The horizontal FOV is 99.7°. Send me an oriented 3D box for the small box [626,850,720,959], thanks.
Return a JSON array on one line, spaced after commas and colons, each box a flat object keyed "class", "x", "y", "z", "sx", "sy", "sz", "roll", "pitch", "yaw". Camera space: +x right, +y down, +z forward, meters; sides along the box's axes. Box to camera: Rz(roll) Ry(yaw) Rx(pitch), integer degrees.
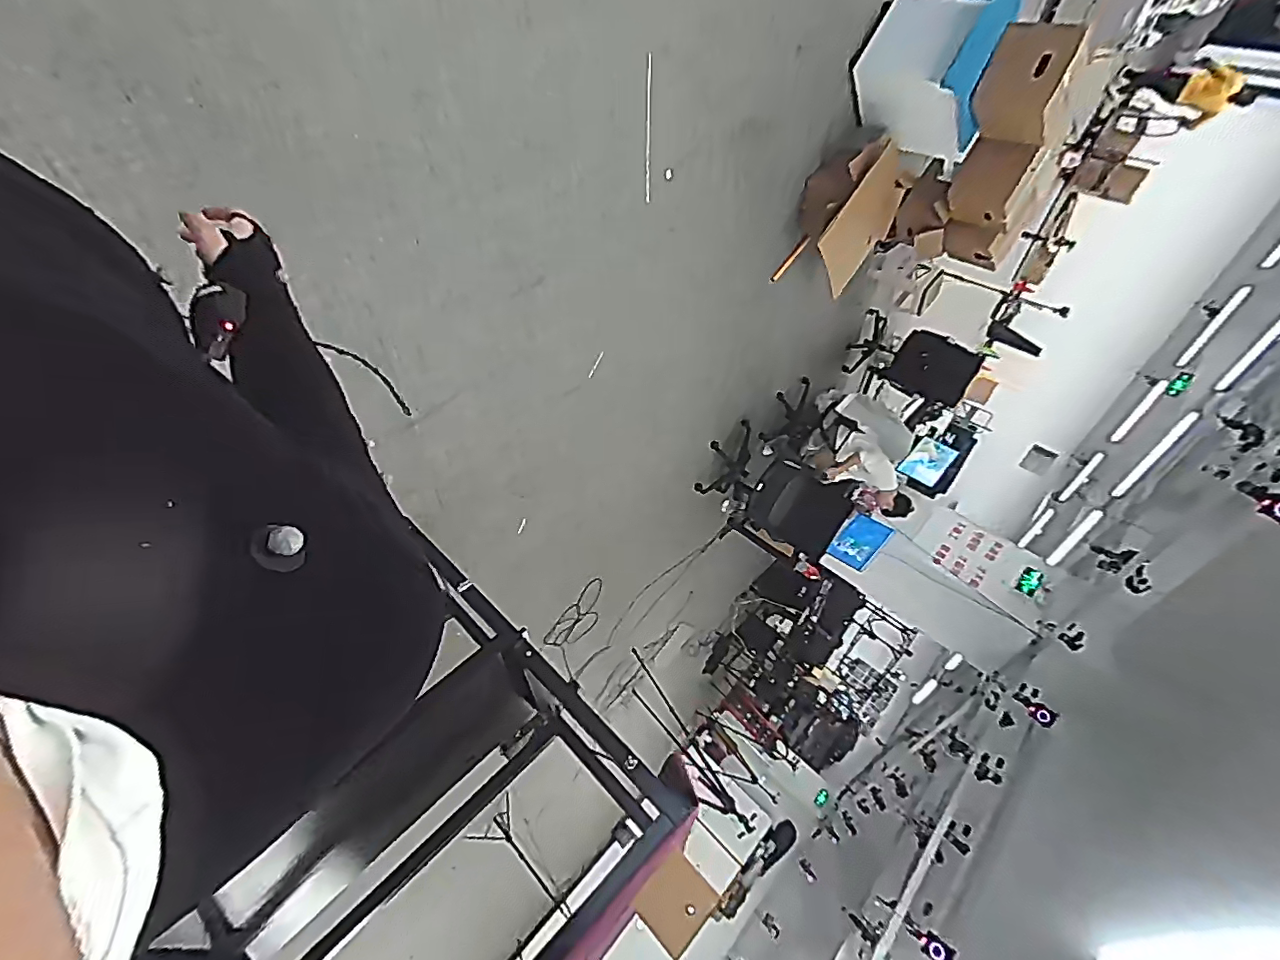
[{"class": "small box", "x": 0.084, "y": 1.111, "z": 1.412, "sx": 0.179, "sy": 0.176, "sz": 0.168, "roll": -38, "pitch": 148, "yaw": -26}]
